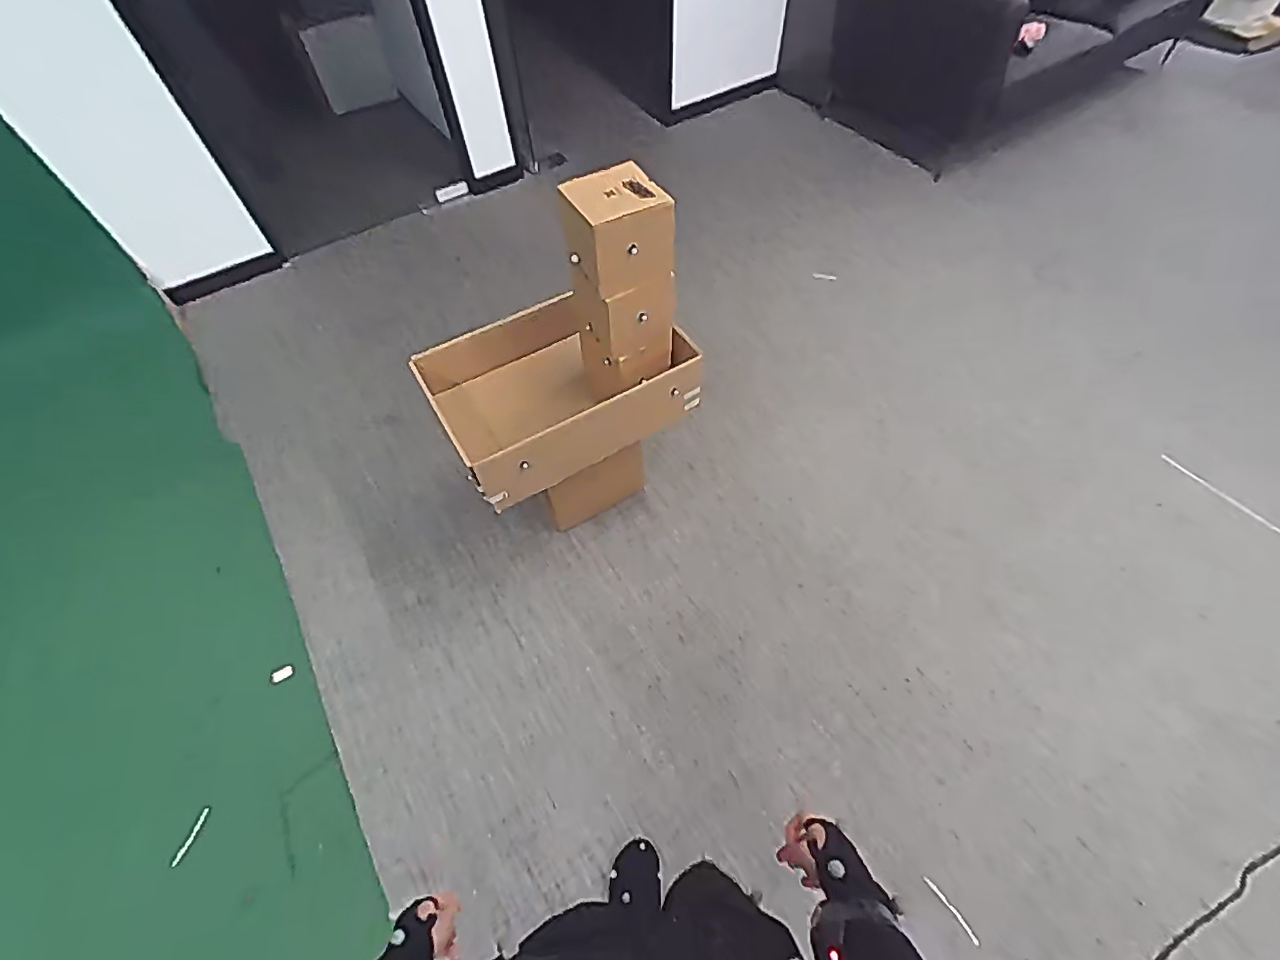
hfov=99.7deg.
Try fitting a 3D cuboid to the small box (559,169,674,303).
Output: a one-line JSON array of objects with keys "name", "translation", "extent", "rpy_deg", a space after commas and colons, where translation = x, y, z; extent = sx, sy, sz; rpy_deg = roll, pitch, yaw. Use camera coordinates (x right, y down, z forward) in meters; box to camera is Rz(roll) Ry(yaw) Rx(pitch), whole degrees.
[{"name": "small box", "translation": [-0.047, -0.500, 1.117], "extent": [0.179, 0.176, 0.168], "rpy_deg": [-26, 59, -14]}]
